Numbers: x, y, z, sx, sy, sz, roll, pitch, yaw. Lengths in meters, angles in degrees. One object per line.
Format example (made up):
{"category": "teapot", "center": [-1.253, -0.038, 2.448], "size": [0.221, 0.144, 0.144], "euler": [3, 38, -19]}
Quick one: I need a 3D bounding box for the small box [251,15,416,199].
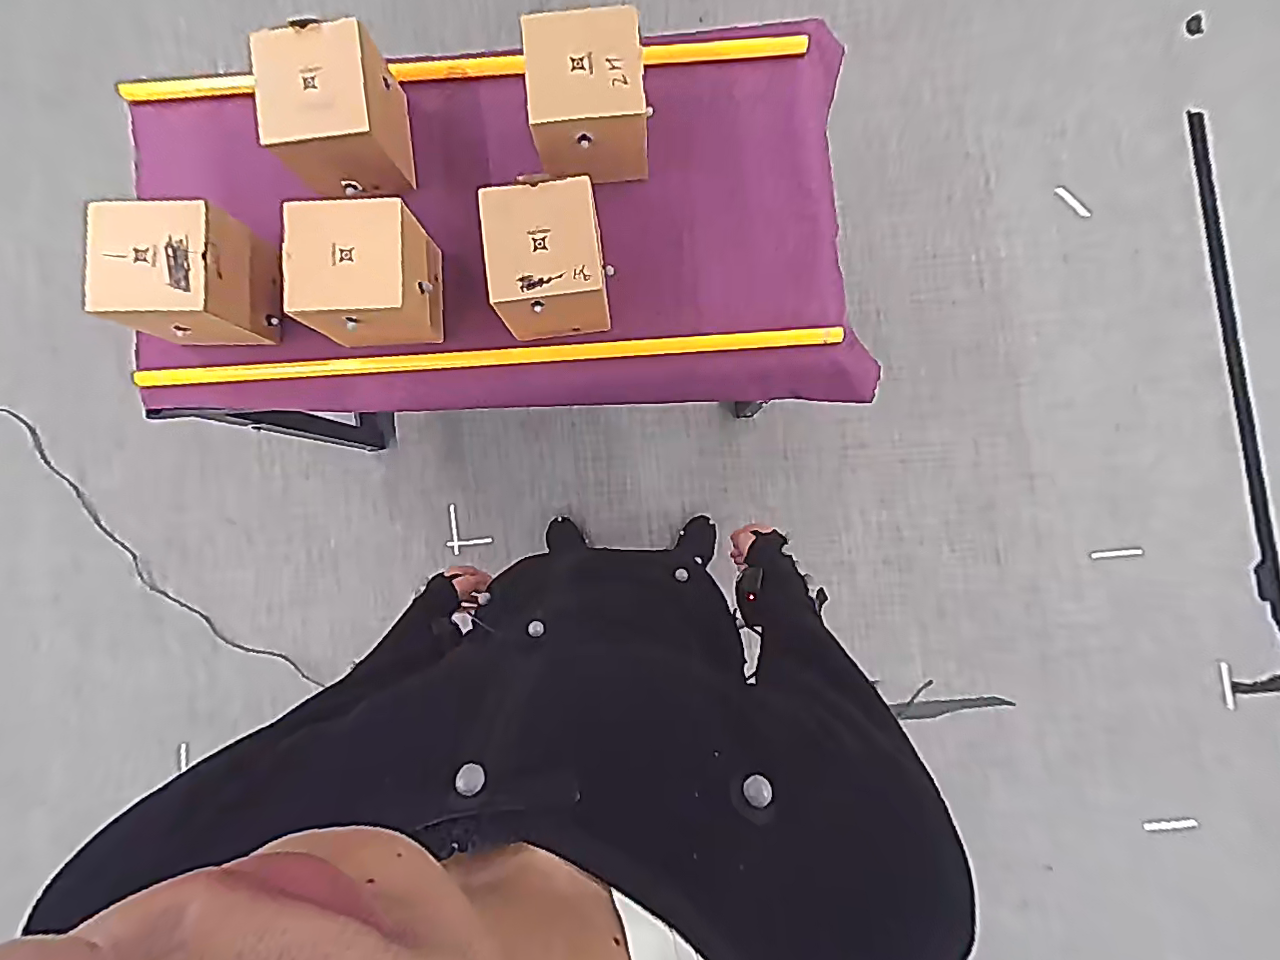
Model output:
{"category": "small box", "center": [-0.482, -0.586, 0.872], "size": [0.168, 0.176, 0.179], "euler": [-7, 88, 1]}

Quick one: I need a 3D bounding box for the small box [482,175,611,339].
{"category": "small box", "center": [-0.140, -0.343, 0.856], "size": [0.168, 0.176, 0.179], "euler": [-7, 85, 1]}

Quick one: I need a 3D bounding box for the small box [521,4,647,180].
{"category": "small box", "center": [-0.081, -0.605, 0.867], "size": [0.179, 0.176, 0.168], "euler": [-4, 89, 1]}

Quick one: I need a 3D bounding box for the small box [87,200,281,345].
{"category": "small box", "center": [-0.708, -0.320, 0.859], "size": [0.179, 0.176, 0.168], "euler": [0, 87, 0]}

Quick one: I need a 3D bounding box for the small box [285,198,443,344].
{"category": "small box", "center": [-0.425, -0.322, 0.860], "size": [0.179, 0.176, 0.168], "euler": [-2, 87, 1]}
